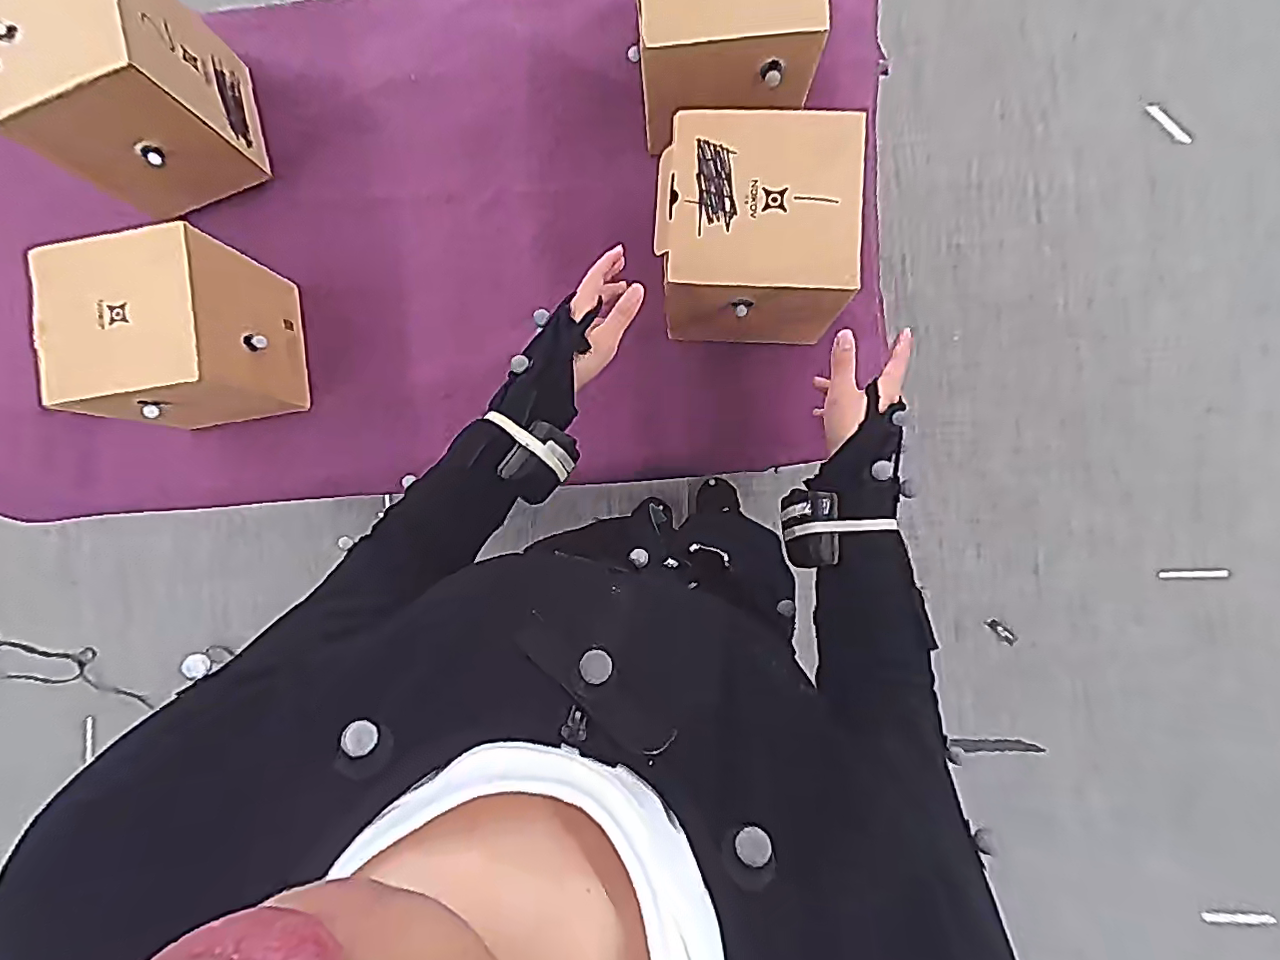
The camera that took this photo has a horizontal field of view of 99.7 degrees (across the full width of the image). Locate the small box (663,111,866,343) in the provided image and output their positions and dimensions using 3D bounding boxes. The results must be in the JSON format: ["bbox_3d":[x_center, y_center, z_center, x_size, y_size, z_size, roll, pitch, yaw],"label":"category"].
[{"bbox_3d":[0.120,-0.250,0.570,0.179,0.176,0.168,3,88,4],"label":"small box"}]

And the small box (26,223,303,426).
[{"bbox_3d":[-0.519,-0.162,0.618,0.179,0.176,0.168,-8,87,4],"label":"small box"}]

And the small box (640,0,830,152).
[{"bbox_3d":[0.089,-0.484,0.578,0.179,0.176,0.168,-3,89,4],"label":"small box"}]
